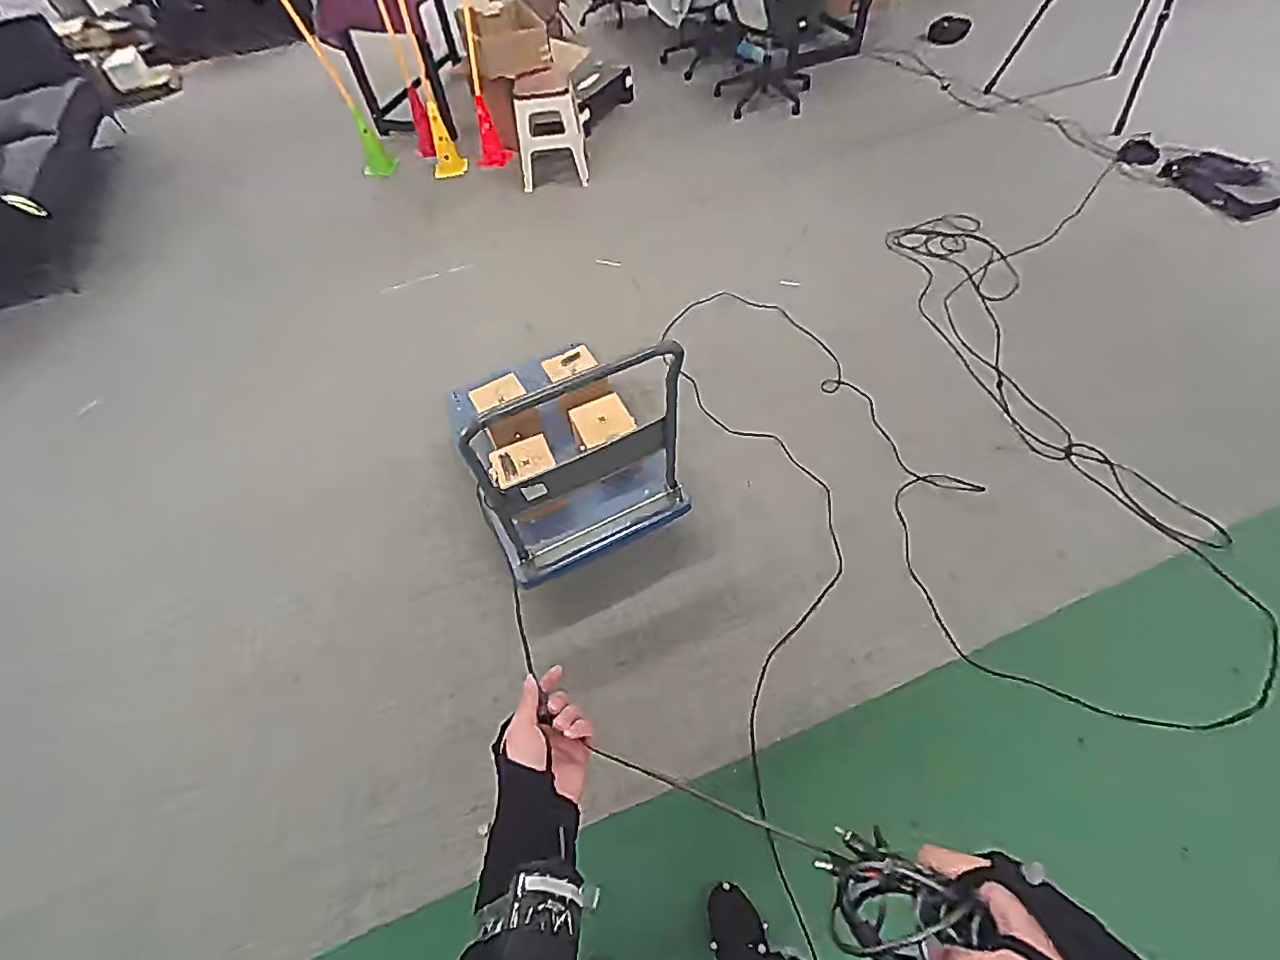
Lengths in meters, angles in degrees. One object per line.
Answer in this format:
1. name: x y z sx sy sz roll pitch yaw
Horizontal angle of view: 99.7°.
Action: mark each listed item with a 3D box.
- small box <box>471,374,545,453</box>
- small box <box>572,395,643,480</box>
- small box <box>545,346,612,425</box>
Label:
1. small box: -0.432 -0.211 1.793 0.168 0.176 0.179 -28 58 -14
2. small box: -0.100 -0.133 1.714 0.168 0.176 0.179 -23 58 -10
3. small box: -0.206 -0.317 1.846 0.168 0.176 0.179 -26 59 -12
